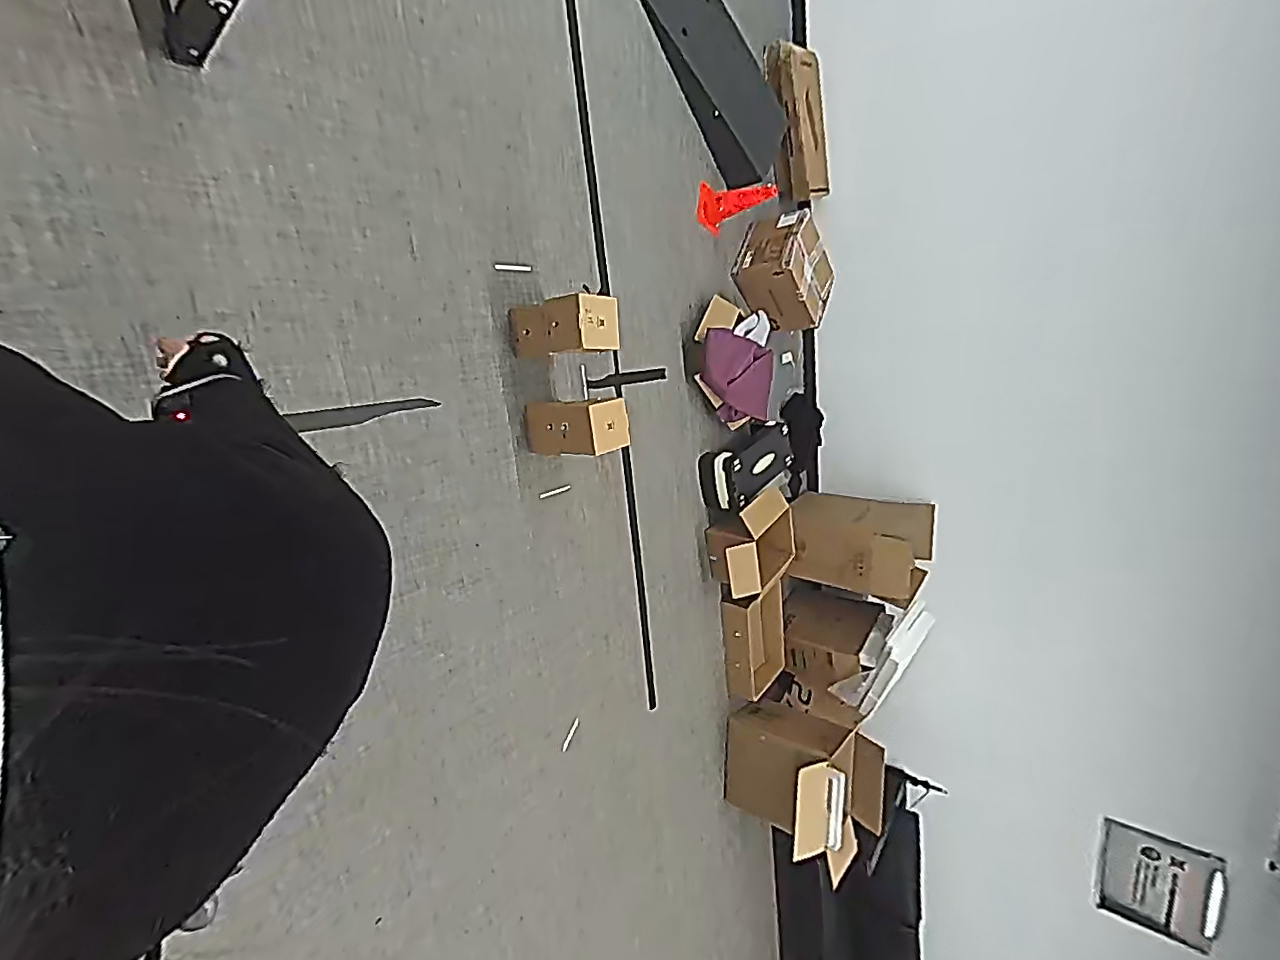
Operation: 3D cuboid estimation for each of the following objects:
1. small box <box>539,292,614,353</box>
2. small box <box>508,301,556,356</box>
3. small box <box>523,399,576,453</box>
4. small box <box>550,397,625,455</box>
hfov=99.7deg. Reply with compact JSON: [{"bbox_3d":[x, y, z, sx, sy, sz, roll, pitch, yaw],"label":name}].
[{"bbox_3d":[-0.204,-0.505,1.748,0.179,0.176,0.168,-15,105,-49],"label":"small box"},{"bbox_3d":[-0.335,-0.518,1.850,0.179,0.176,0.168,-22,111,-47],"label":"small box"},{"bbox_3d":[-0.302,-0.195,1.932,0.168,0.176,0.179,-17,109,-48],"label":"small box"},{"bbox_3d":[-0.177,-0.188,1.829,0.179,0.176,0.168,-23,111,-46],"label":"small box"}]
